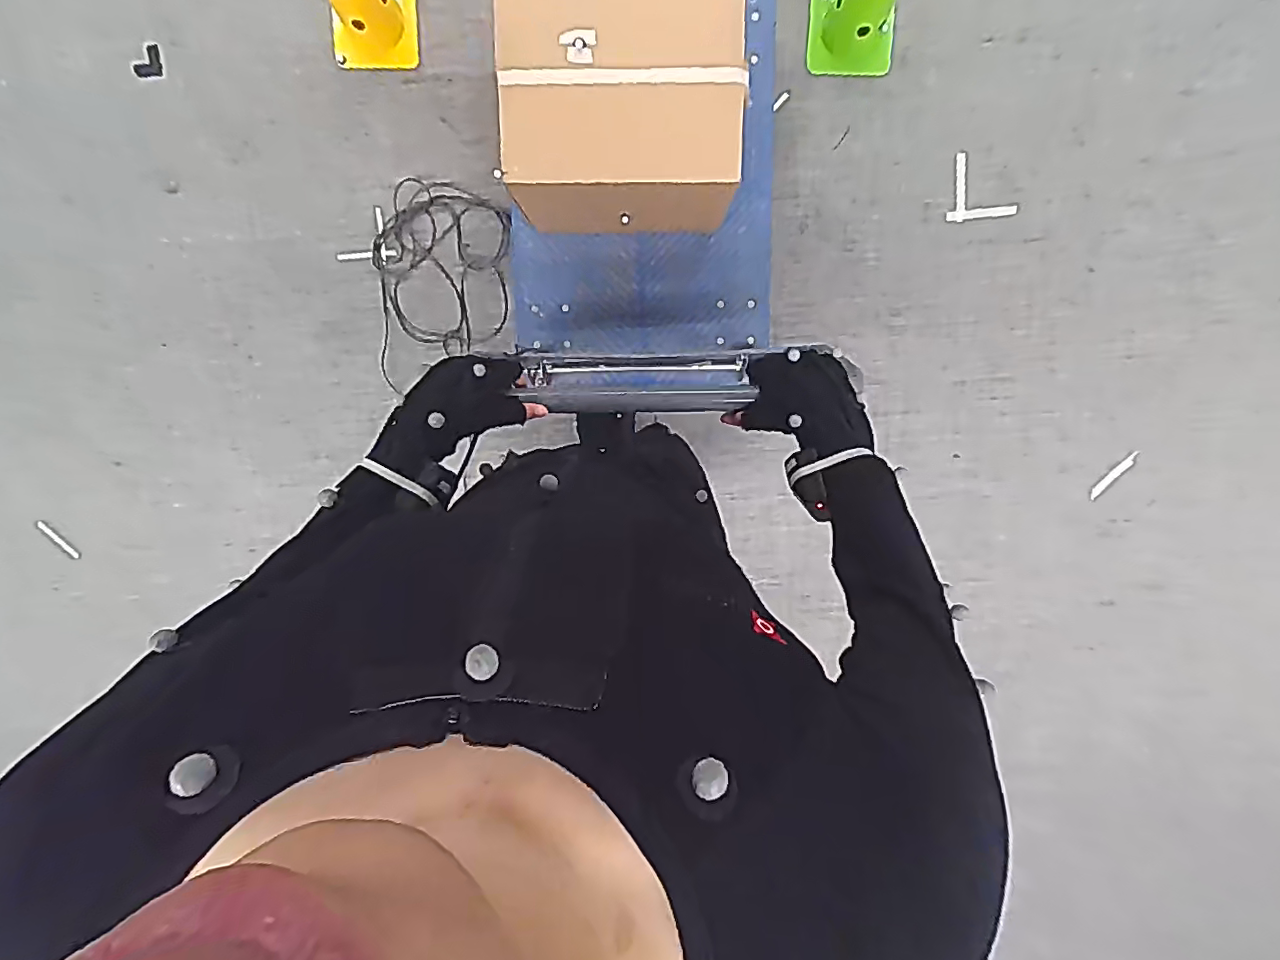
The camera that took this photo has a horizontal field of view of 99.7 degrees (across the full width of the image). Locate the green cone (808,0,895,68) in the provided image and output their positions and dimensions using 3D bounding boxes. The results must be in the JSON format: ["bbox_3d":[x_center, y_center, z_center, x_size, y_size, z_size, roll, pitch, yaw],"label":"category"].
[{"bbox_3d":[0.503,-1.060,1.109,0.202,0.368,0.200,1,100,-1],"label":"green cone"}]

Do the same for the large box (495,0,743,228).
[{"bbox_3d":[-0.029,-0.683,1.030,0.408,0.320,0.320,0,100,1],"label":"large box"}]
